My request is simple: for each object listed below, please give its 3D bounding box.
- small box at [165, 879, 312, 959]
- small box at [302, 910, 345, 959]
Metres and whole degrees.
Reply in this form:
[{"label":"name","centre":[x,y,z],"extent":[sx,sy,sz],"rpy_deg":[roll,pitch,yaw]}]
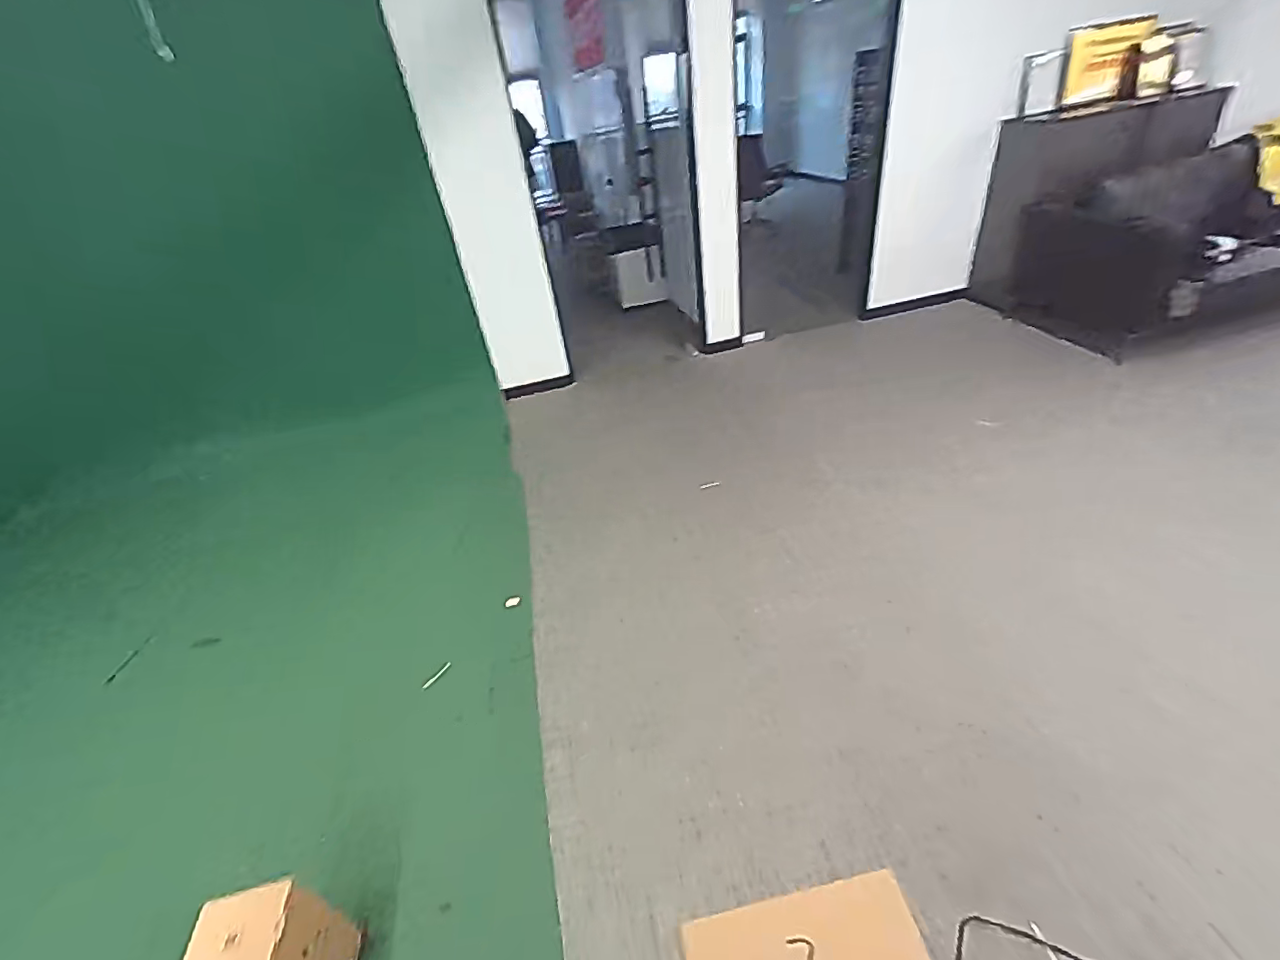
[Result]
[{"label":"small box","centre":[-0.781,0.925,1.048],"extent":[0.179,0.176,0.168],"rpy_deg":[-13,35,-8]},{"label":"small box","centre":[-0.762,1.057,1.141],"extent":[0.179,0.176,0.168],"rpy_deg":[-12,36,-7]}]
